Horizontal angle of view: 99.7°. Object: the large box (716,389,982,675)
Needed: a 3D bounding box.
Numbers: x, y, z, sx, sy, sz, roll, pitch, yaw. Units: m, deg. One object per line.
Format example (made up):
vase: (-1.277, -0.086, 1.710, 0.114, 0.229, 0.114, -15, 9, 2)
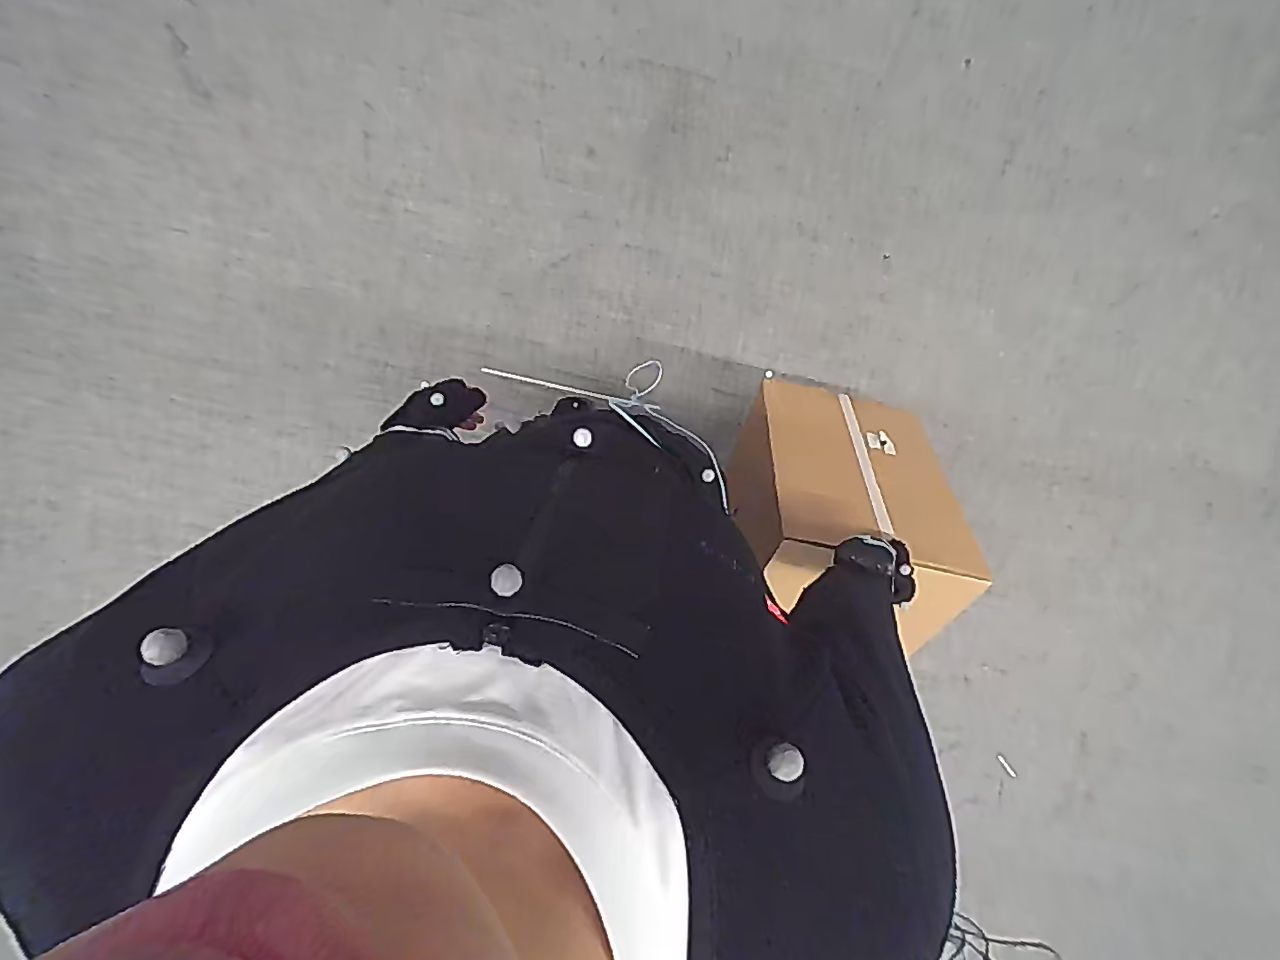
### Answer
large box: (0.333, 0.092, 1.009, 0.320, 0.408, 0.320, 13, 133, -4)
